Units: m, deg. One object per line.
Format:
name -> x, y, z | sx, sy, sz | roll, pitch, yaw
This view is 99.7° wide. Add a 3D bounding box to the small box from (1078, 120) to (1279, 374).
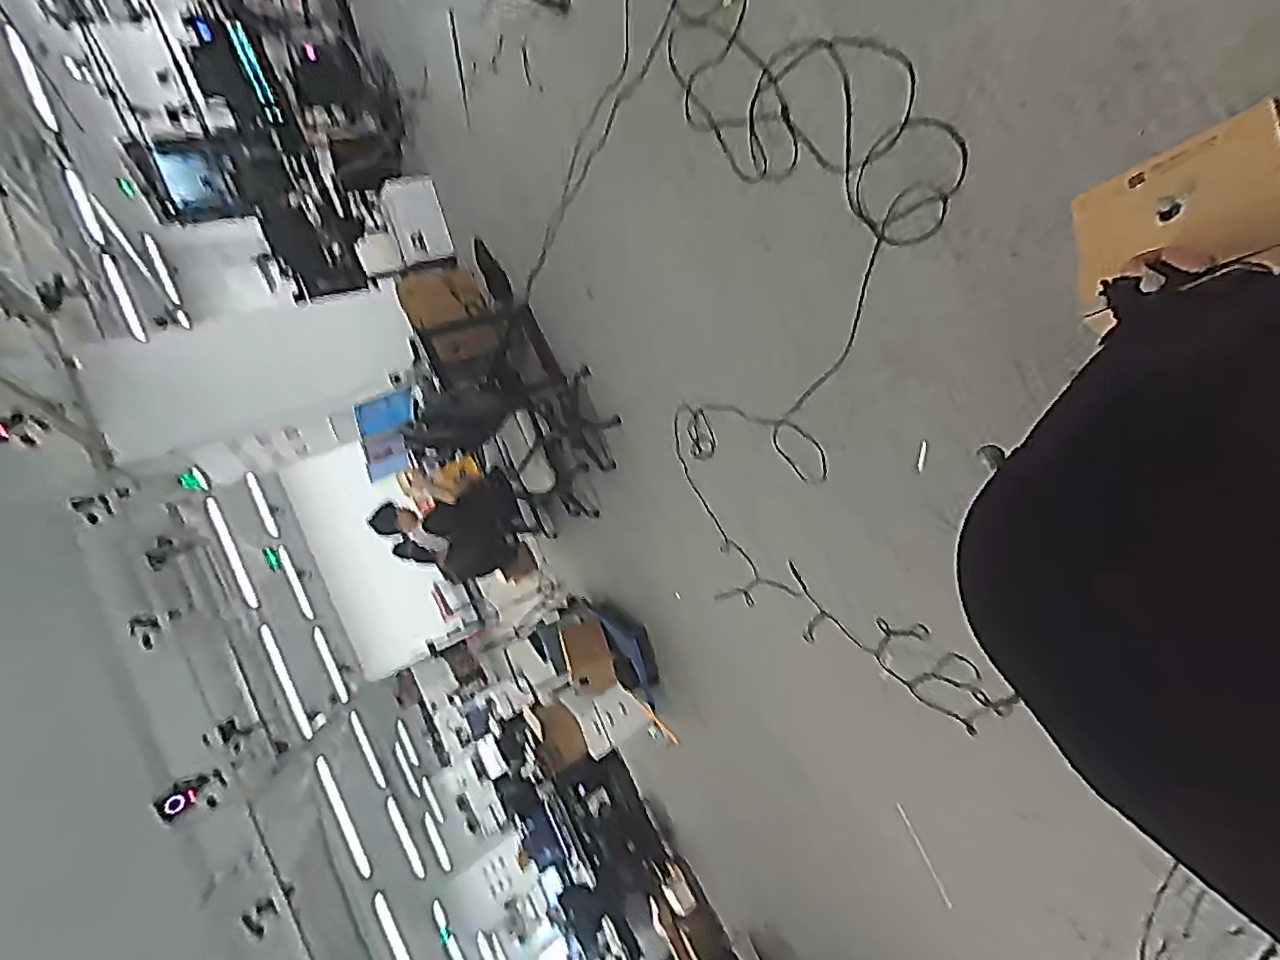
small box -> 0.622, -0.250, 0.600 | 0.168, 0.179, 0.176 | -19, 55, 57
